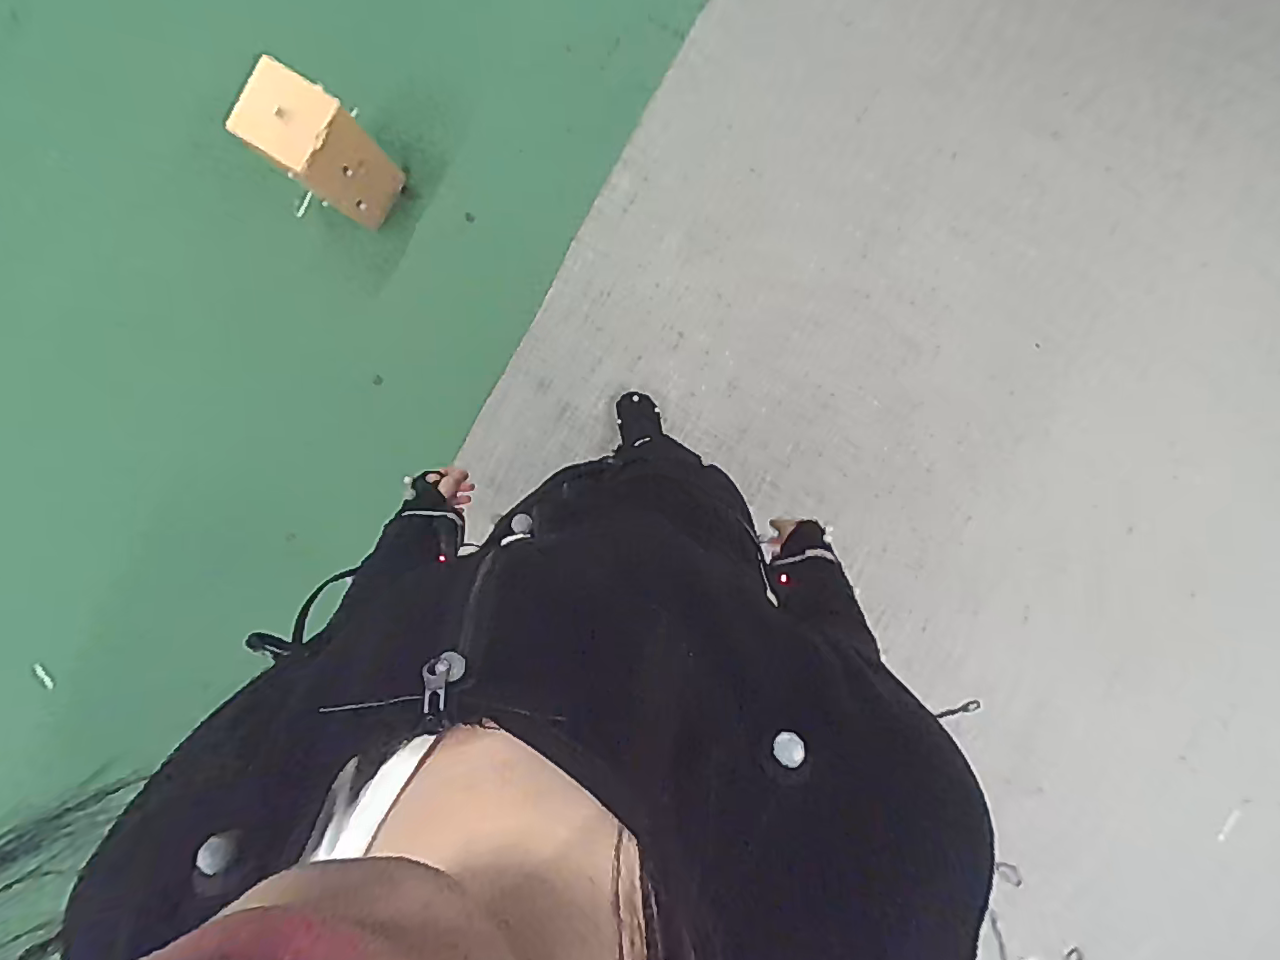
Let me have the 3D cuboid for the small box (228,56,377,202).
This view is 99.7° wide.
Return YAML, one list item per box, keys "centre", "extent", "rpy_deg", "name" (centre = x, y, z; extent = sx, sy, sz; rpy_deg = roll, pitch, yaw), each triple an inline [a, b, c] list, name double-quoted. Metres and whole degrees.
- centre: [-0.713, -0.738, 1.162]
  extent: [0.179, 0.176, 0.168]
  rpy_deg: [31, 93, -3]
  name: "small box"
